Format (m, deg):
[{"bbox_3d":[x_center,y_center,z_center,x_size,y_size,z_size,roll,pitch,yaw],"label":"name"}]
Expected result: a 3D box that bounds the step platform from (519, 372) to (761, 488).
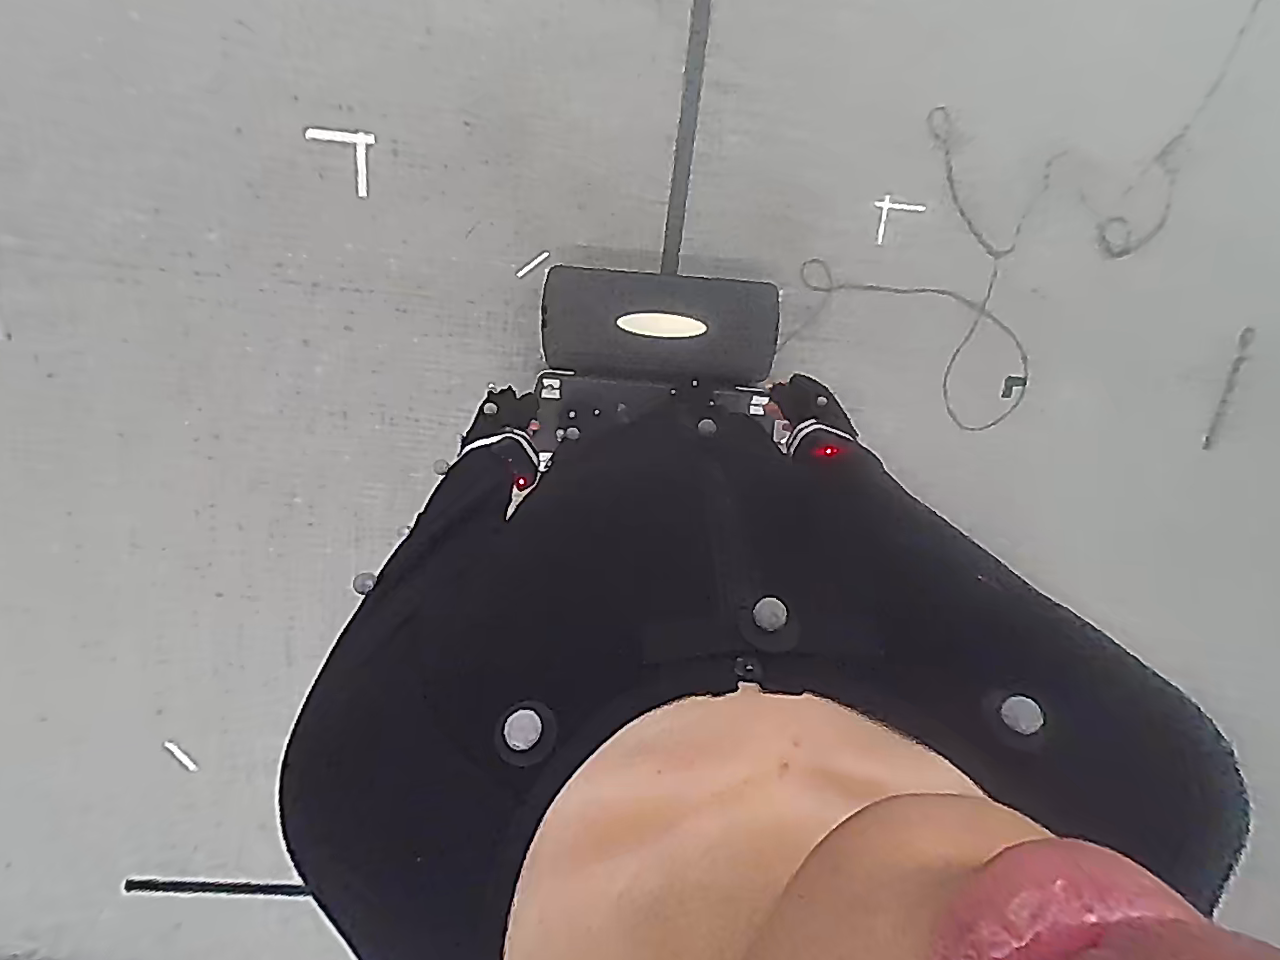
[{"bbox_3d":[0.000,-0.144,1.557,0.684,0.204,0.286,4,102,-4],"label":"step platform"}]
